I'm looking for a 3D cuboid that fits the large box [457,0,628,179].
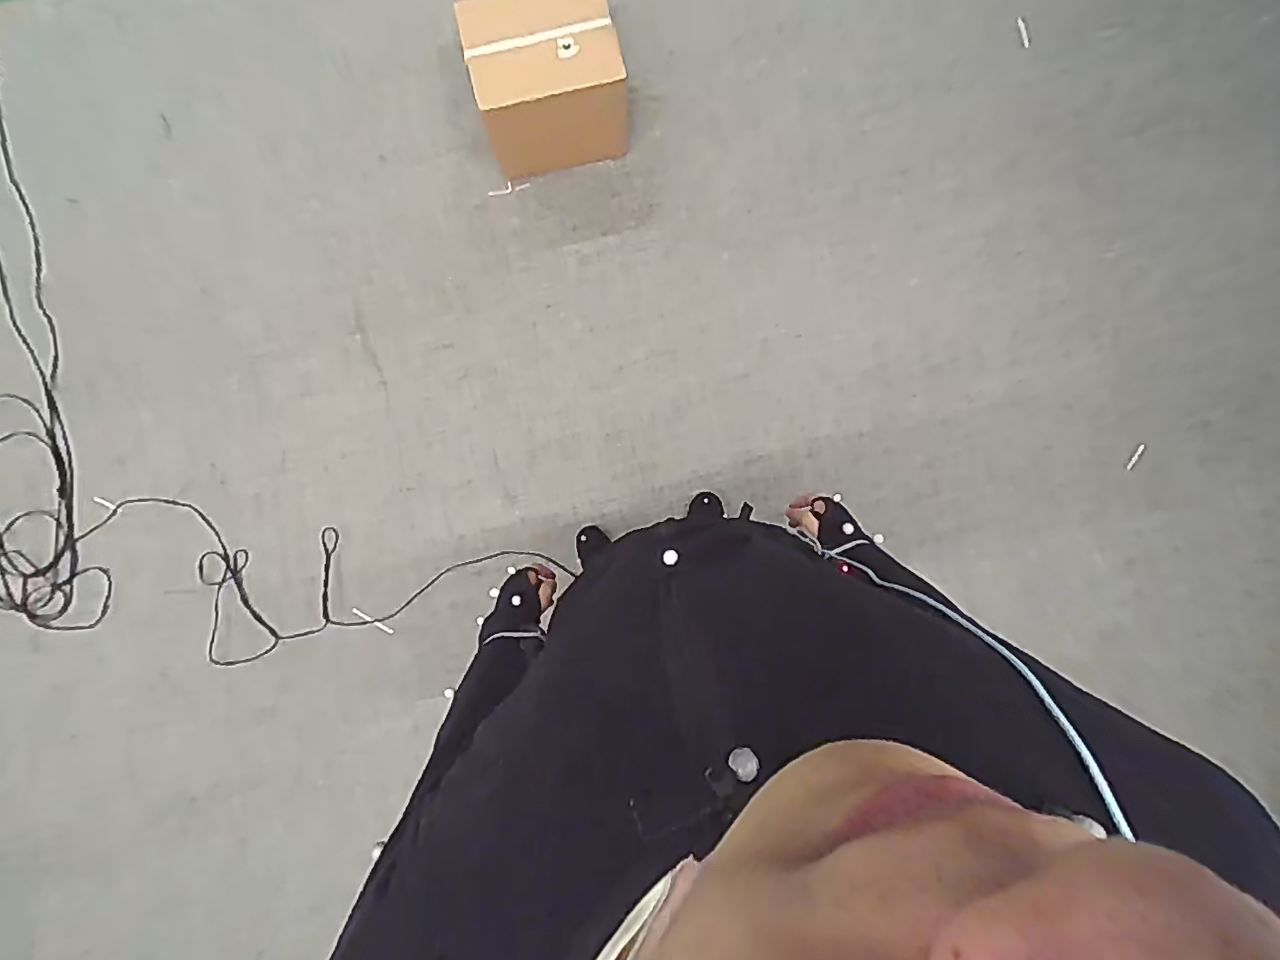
[{"bbox_3d":[-0.264,-1.156,1.584,0.408,0.320,0.320,-14,87,-2],"label":"large box"}]
